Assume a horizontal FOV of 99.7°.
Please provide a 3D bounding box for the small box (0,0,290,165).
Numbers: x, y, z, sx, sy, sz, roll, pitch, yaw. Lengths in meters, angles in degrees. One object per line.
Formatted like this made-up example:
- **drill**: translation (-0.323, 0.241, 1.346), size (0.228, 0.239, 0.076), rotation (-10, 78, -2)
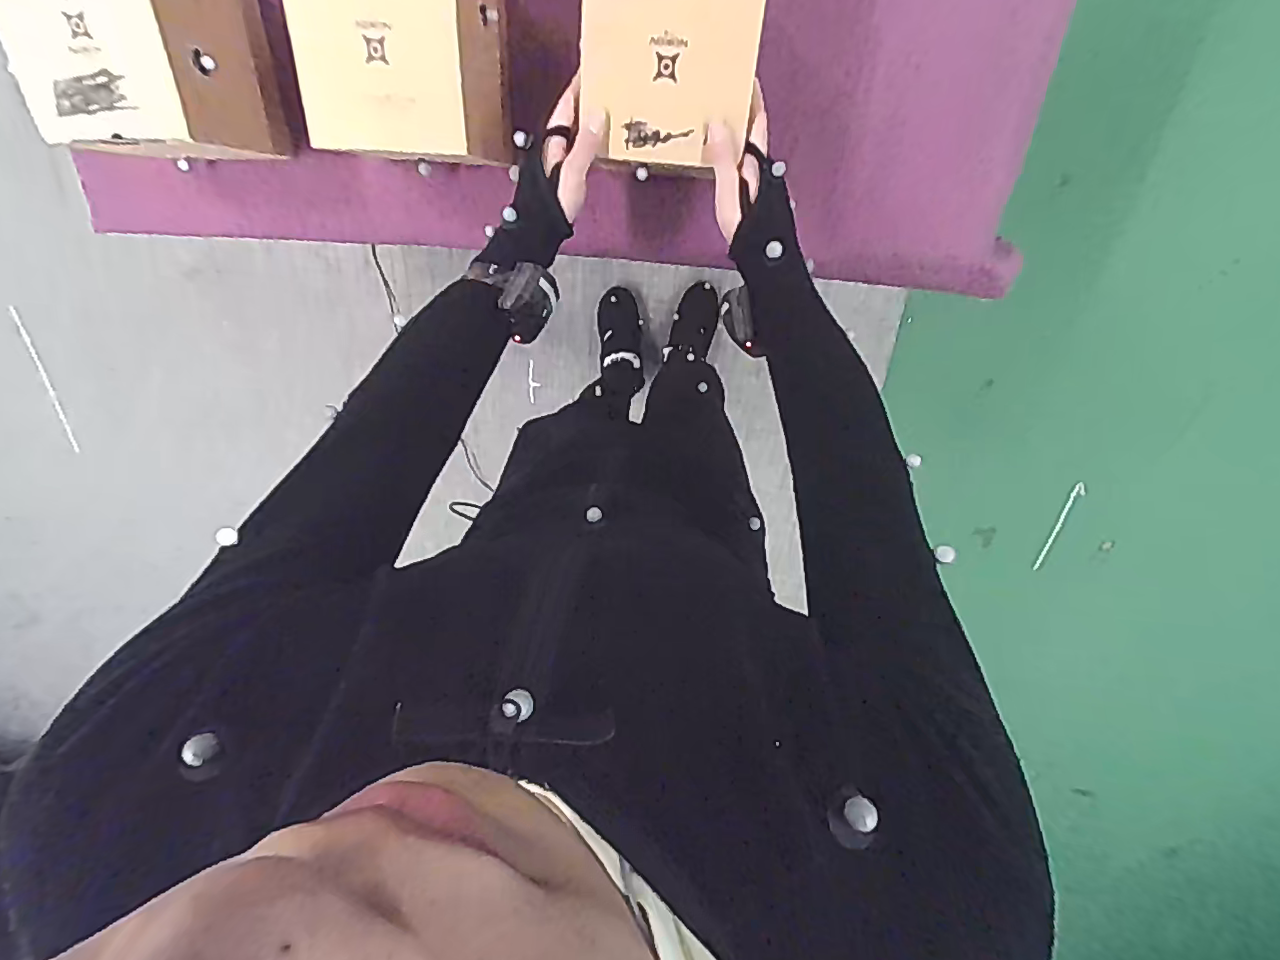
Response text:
- **small box**: translation (-0.536, -0.459, 0.606), size (0.168, 0.176, 0.179), rotation (2, 115, 4)

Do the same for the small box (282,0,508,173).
- **small box**: translation (-0.251, -0.446, 0.592), size (0.168, 0.176, 0.179), rotation (5, 118, 3)
